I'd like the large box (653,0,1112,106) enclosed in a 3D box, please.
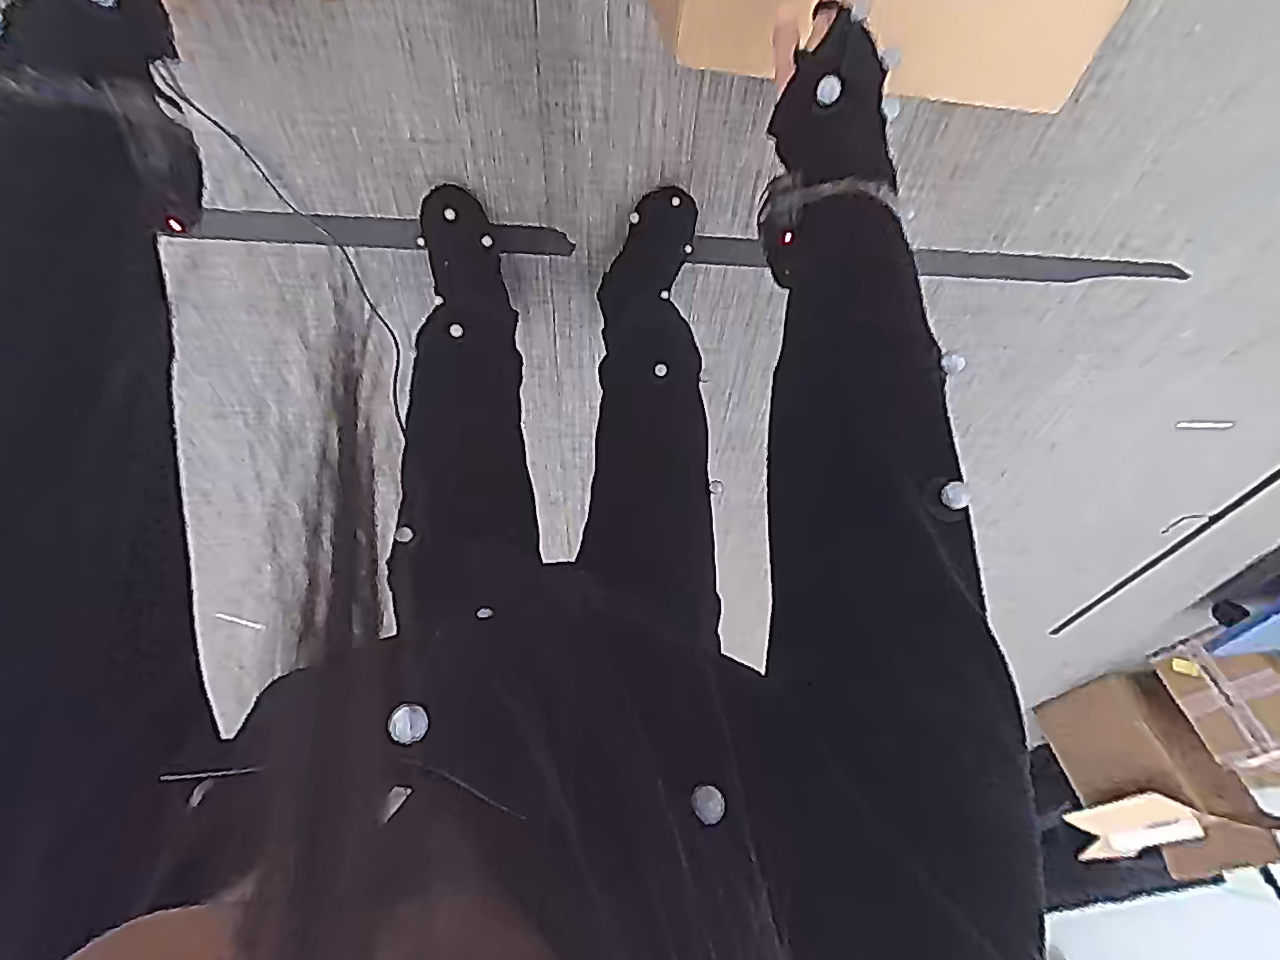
[{"bbox_3d":[0.239,-0.607,0.531,0.408,0.320,0.320,1,138,-9],"label":"large box"}]
